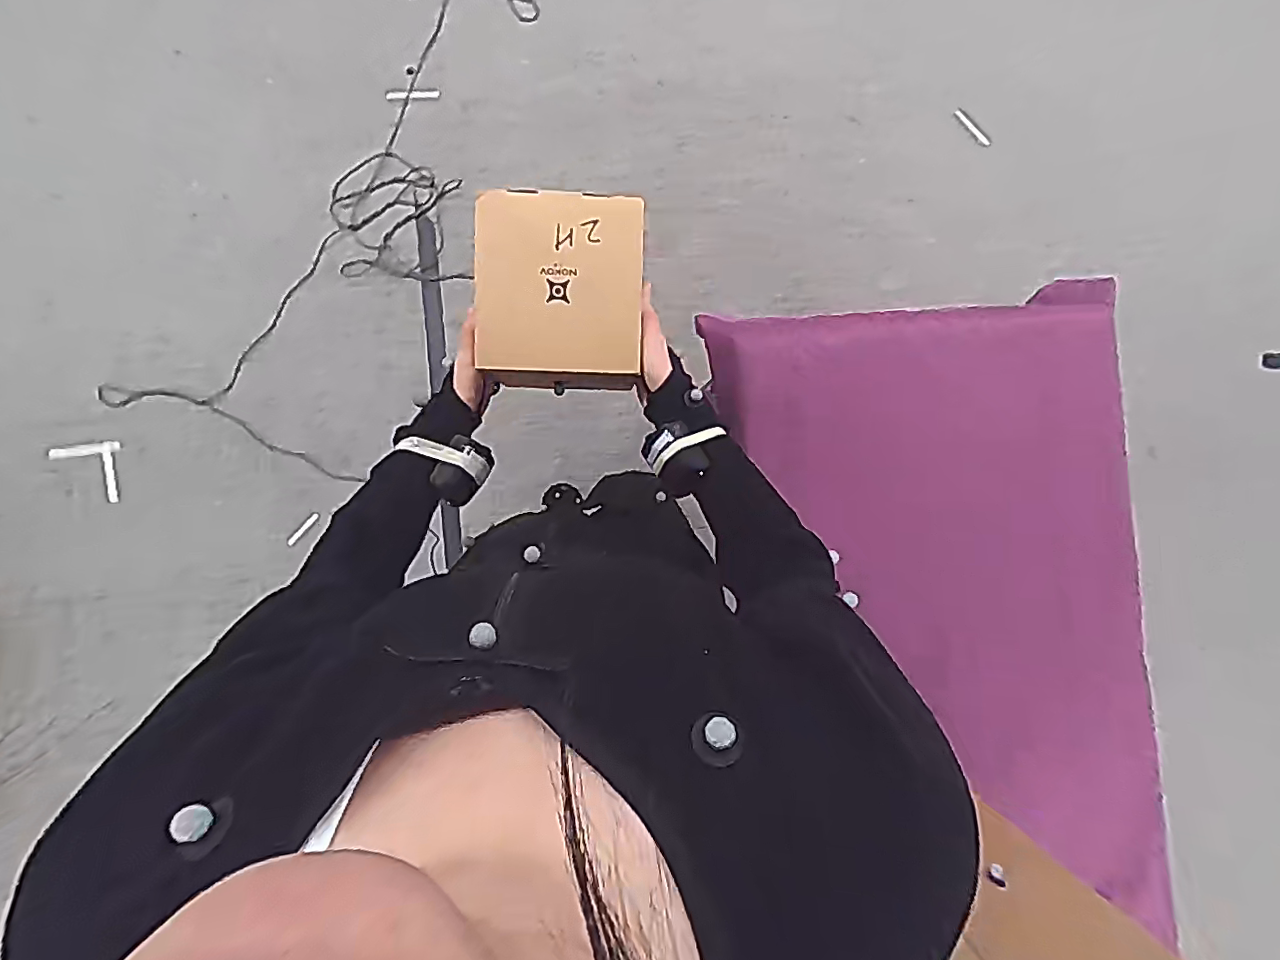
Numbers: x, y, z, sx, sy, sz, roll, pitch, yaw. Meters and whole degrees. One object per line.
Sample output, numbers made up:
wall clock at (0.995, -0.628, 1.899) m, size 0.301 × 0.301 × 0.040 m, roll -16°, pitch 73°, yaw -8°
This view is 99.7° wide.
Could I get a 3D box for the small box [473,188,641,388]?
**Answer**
small box at (-0.086, -0.199, 0.610) m, size 0.168 × 0.176 × 0.179 m, roll 0°, pitch 93°, yaw -4°
